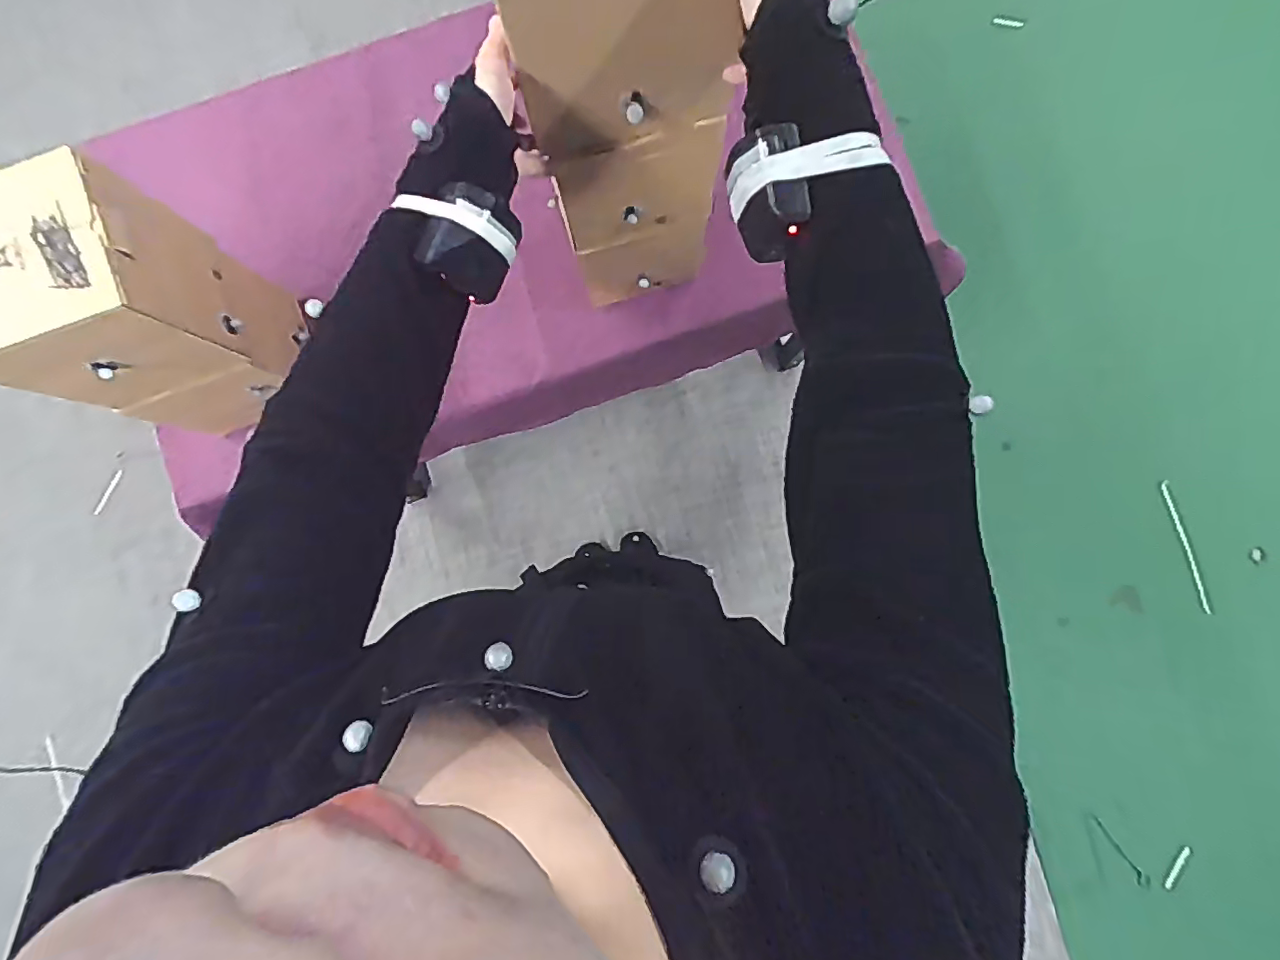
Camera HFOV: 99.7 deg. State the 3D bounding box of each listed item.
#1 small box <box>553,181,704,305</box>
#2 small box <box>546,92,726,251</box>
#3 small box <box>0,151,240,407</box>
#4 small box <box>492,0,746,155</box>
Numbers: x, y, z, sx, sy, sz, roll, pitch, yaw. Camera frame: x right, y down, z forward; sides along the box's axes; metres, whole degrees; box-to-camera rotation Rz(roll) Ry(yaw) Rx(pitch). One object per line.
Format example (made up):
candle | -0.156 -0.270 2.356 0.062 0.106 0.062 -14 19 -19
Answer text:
small box | -0.022 -0.368 0.735 0.168 0.176 0.179 -16 87 1
small box | -0.022 -0.379 0.572 0.168 0.176 0.179 -16 87 0
small box | -0.568 -0.192 0.568 0.179 0.176 0.168 -21 86 -1
small box | -0.026 -0.387 0.408 0.179 0.176 0.168 -14 86 -1
